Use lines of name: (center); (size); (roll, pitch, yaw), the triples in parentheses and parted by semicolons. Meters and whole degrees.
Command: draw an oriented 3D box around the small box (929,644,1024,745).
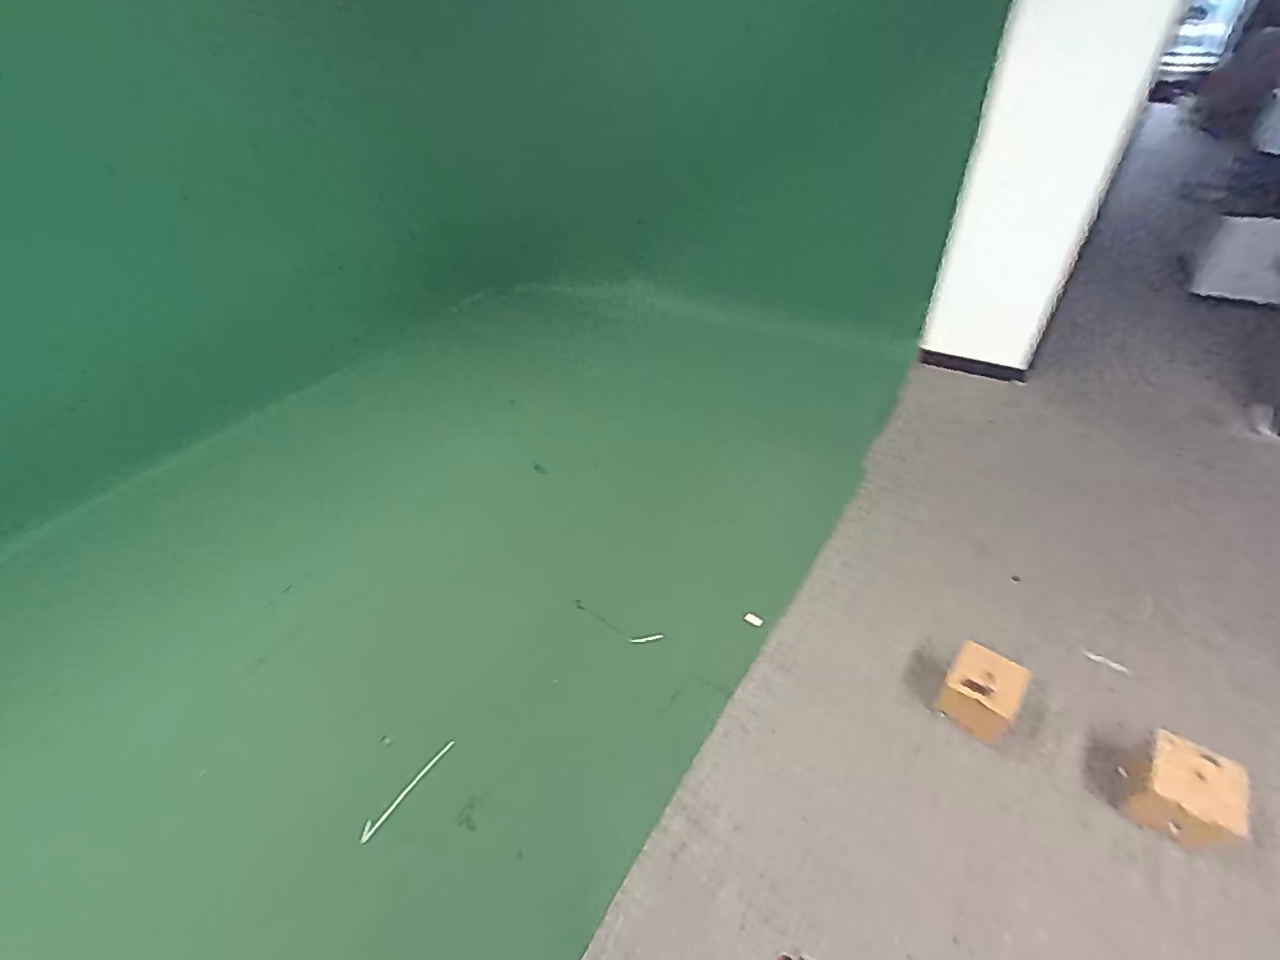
small box: (0.948, 0.612, 1.537); (0.168, 0.176, 0.179); (28, 53, 31)

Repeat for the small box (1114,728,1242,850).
small box: (1.296, 0.752, 1.311); (0.168, 0.176, 0.179); (24, 53, 30)
